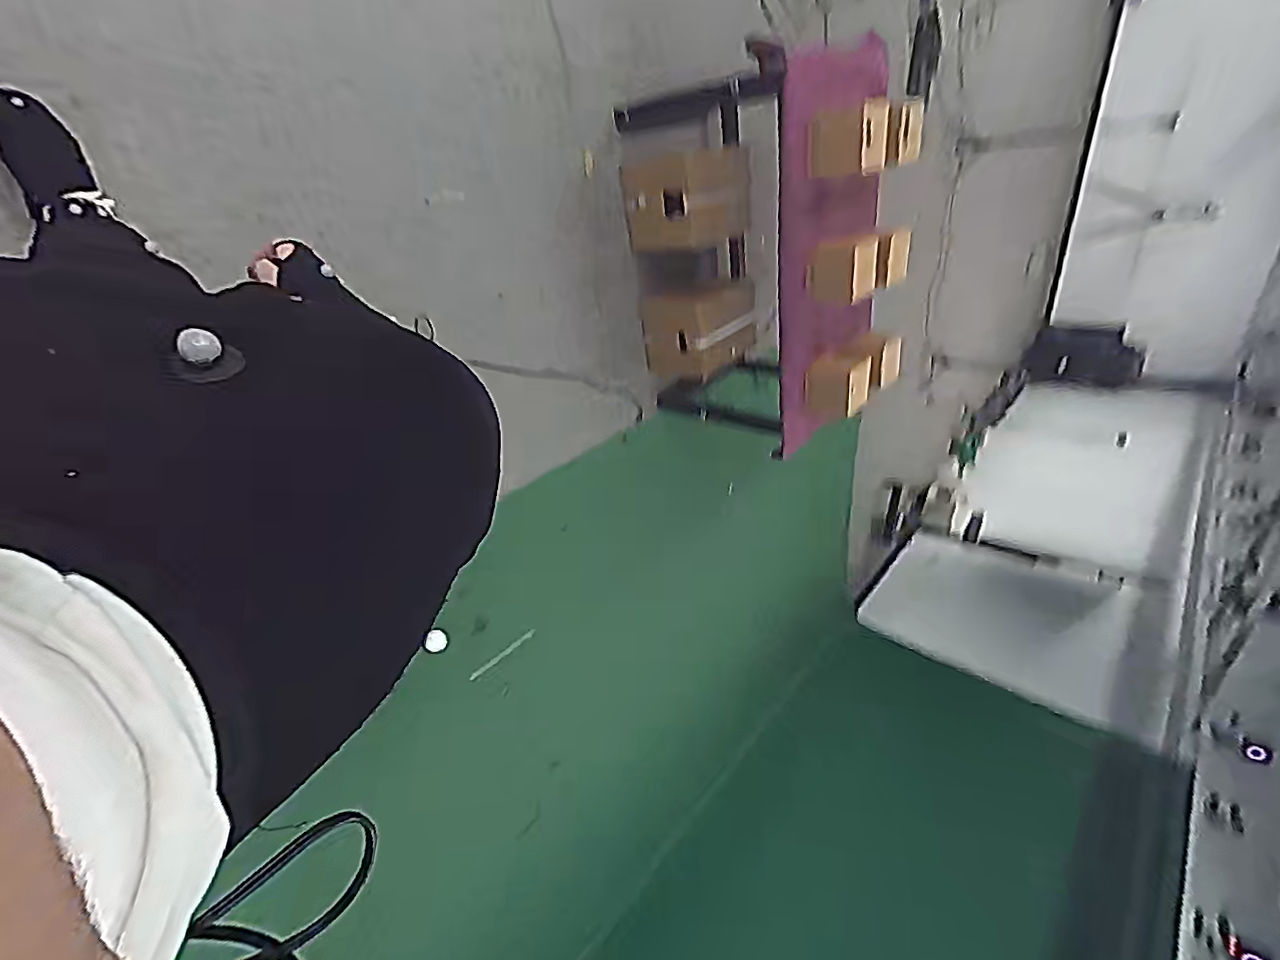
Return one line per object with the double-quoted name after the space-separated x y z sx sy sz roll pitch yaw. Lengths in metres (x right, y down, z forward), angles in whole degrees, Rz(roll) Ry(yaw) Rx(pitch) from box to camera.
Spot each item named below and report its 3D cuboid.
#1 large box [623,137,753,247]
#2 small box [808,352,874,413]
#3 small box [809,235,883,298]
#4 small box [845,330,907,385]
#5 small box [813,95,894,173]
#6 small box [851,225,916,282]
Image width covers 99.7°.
0.193 -1.111 2.095 0.408 0.320 0.320 -34 129 -36 "large box"
0.731 -0.360 1.968 0.179 0.176 0.168 -34 127 -38 "small box"
0.671 -0.701 1.766 0.179 0.176 0.168 -33 127 -37 "small box"
0.927 -0.489 2.134 0.179 0.176 0.168 -32 125 -35 "small box"
0.621 -1.011 1.583 0.179 0.176 0.168 -36 130 -36 "small box"
0.858 -0.813 1.934 0.179 0.176 0.168 -31 127 -36 "small box"
